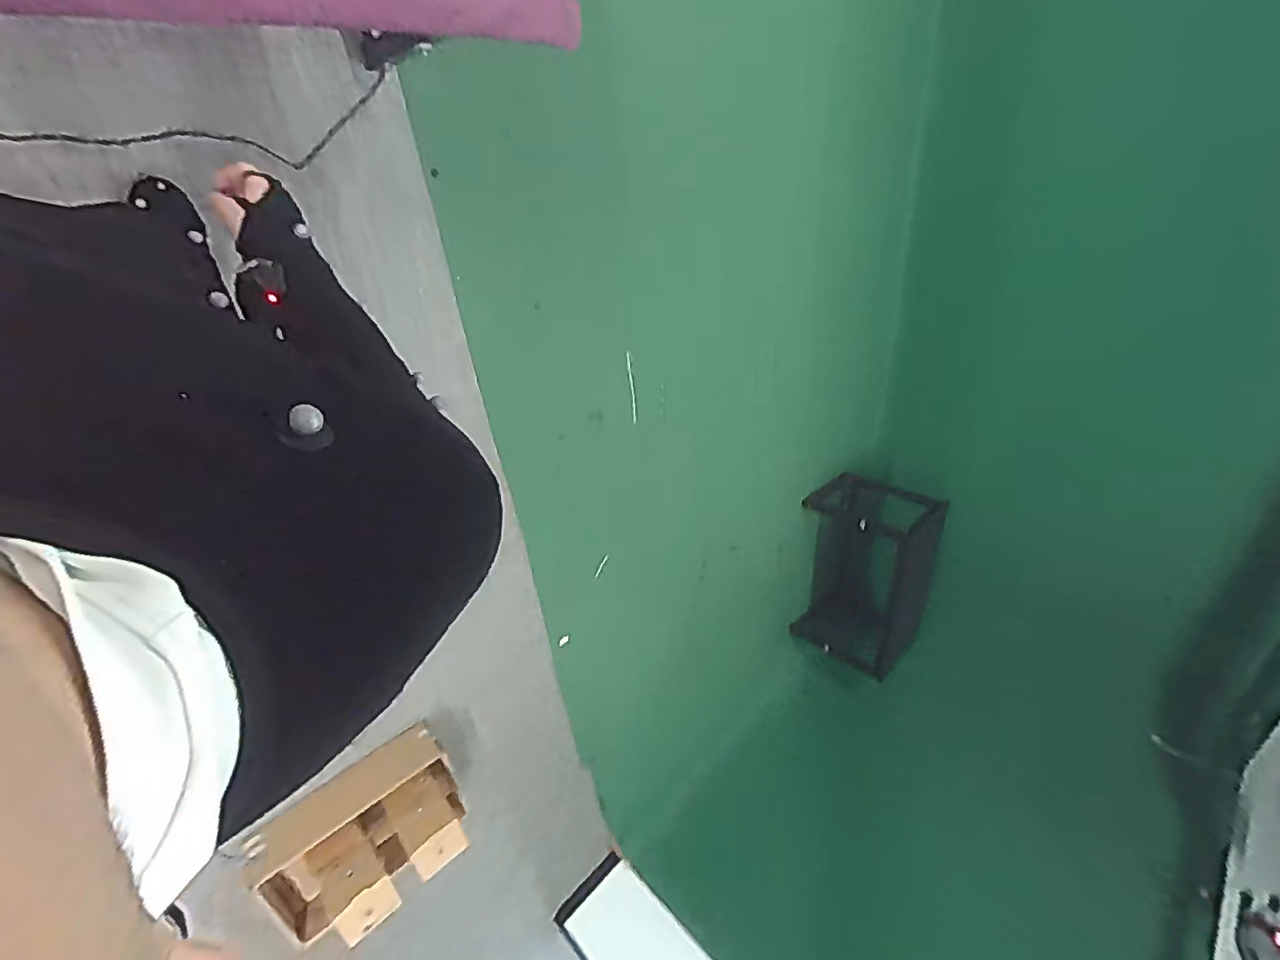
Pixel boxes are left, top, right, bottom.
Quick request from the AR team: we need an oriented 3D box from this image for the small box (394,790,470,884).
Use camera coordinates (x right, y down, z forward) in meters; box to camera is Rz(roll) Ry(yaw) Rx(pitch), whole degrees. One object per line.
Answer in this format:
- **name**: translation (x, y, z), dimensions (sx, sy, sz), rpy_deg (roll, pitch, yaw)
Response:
- **small box**: translation (-0.708, 1.206, 1.840), dimensions (0.168, 0.176, 0.179), rpy_deg (-28, 126, -34)
